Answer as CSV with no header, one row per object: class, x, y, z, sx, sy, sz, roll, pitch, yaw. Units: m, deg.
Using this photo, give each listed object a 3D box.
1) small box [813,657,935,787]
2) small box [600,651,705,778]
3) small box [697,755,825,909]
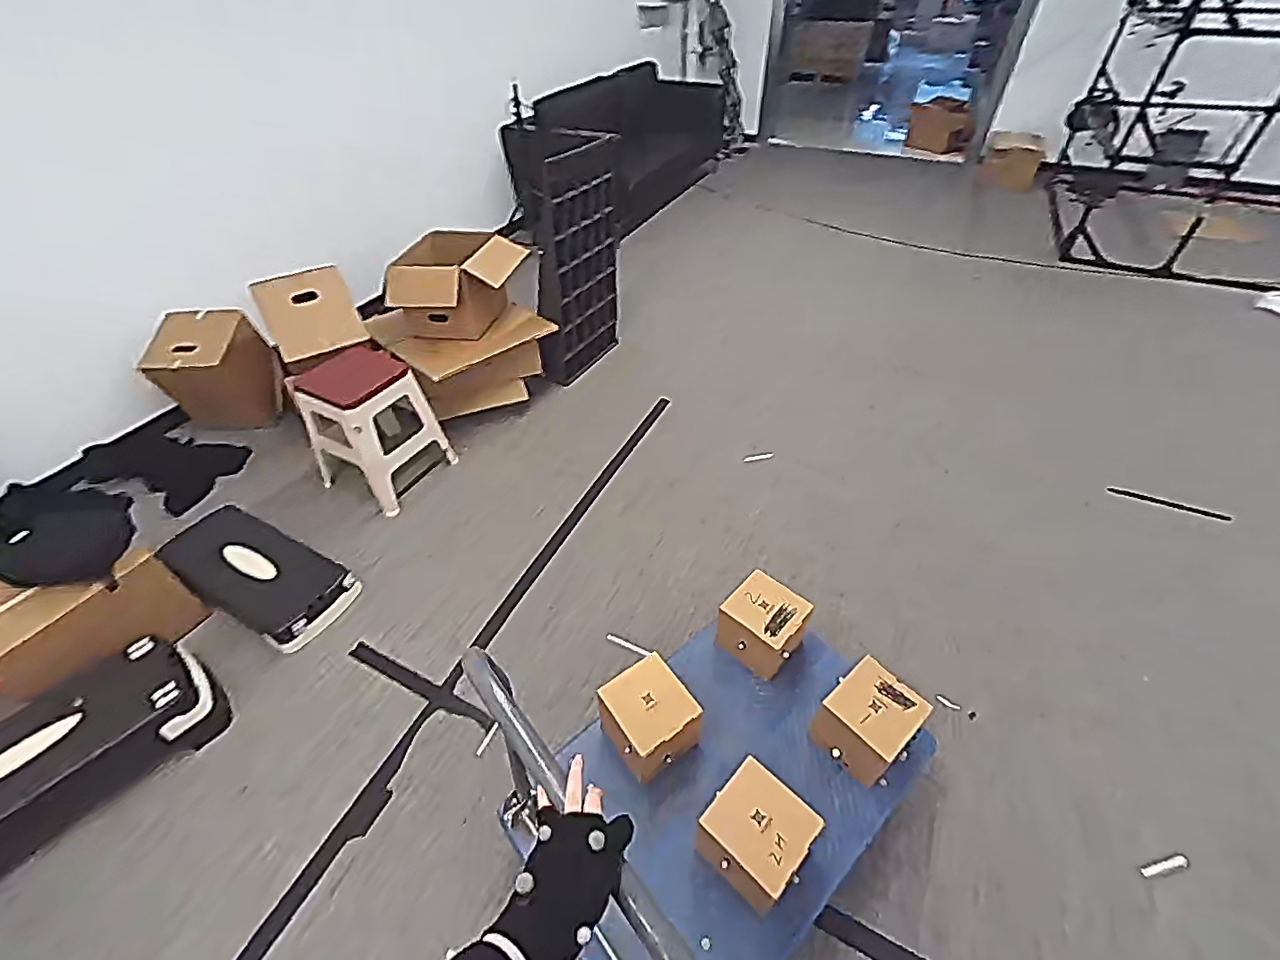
small box,0.514,0.543,1.214,0.179,0.176,0.168,-30,51,-26
small box,0.022,0.532,1.227,0.168,0.176,0.179,-26,51,-25
small box,0.226,0.691,1.059,0.168,0.176,0.179,-35,53,-30
